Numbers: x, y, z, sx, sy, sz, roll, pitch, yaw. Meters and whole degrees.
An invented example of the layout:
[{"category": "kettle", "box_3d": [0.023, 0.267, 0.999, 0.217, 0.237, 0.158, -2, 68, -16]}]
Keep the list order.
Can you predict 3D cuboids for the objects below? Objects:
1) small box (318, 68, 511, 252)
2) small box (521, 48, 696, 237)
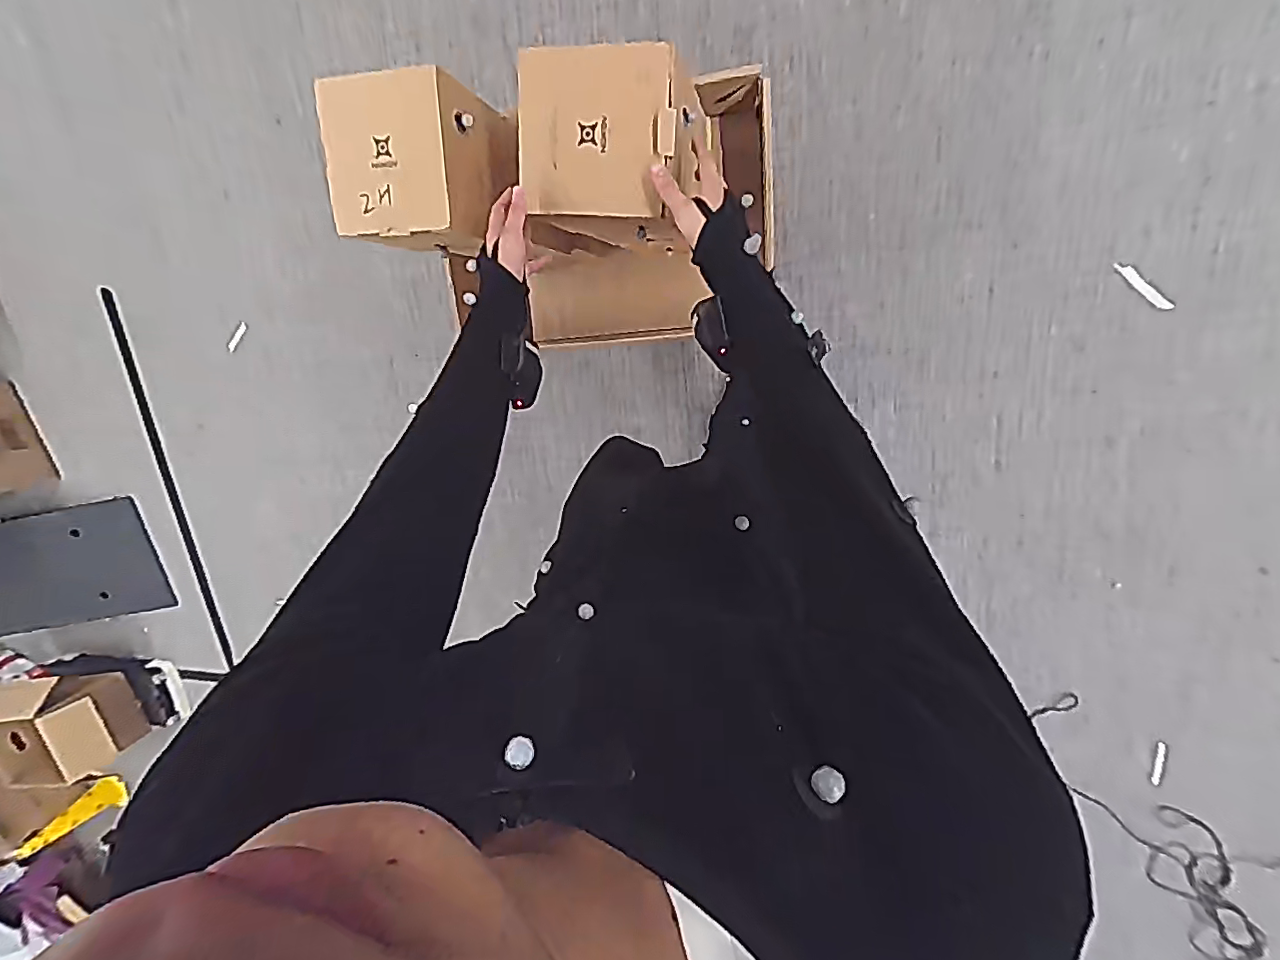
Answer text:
[{"category": "small box", "box_3d": [-0.287, -0.411, 0.726, 0.168, 0.176, 0.179, 3, 108, 13]}, {"category": "small box", "box_3d": [-0.031, -0.402, 0.670, 0.179, 0.176, 0.168, 8, 109, 12]}]
